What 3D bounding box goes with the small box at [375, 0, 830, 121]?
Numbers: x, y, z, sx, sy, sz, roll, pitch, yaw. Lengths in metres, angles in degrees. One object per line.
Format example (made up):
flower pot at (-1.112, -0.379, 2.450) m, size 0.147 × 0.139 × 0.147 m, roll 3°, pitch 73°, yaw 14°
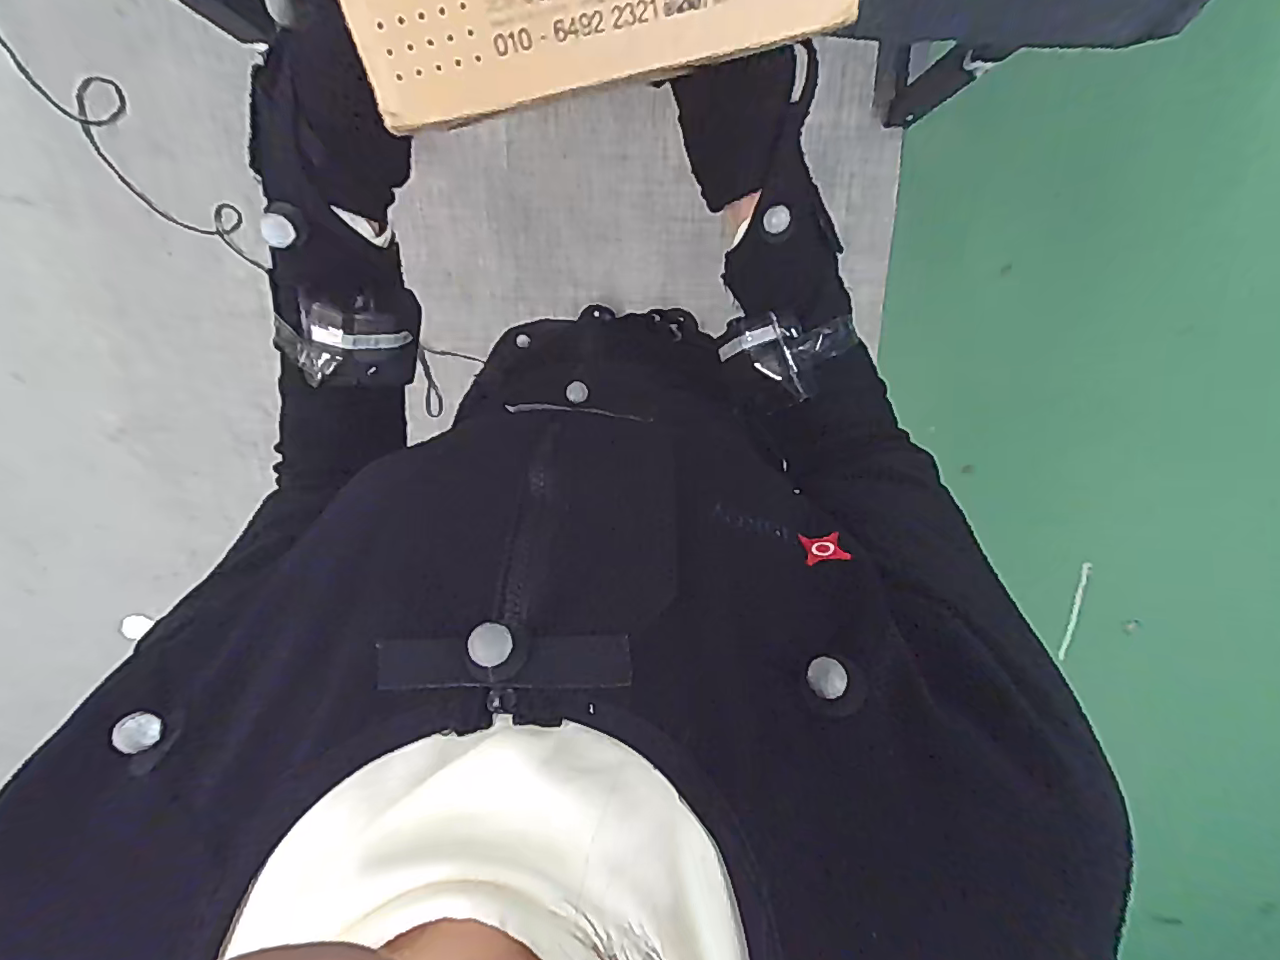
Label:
small box at (-0.036, -0.259, 0.218) m, size 0.168 × 0.179 × 0.176 m, roll -17°, pitch 125°, yaw -3°
